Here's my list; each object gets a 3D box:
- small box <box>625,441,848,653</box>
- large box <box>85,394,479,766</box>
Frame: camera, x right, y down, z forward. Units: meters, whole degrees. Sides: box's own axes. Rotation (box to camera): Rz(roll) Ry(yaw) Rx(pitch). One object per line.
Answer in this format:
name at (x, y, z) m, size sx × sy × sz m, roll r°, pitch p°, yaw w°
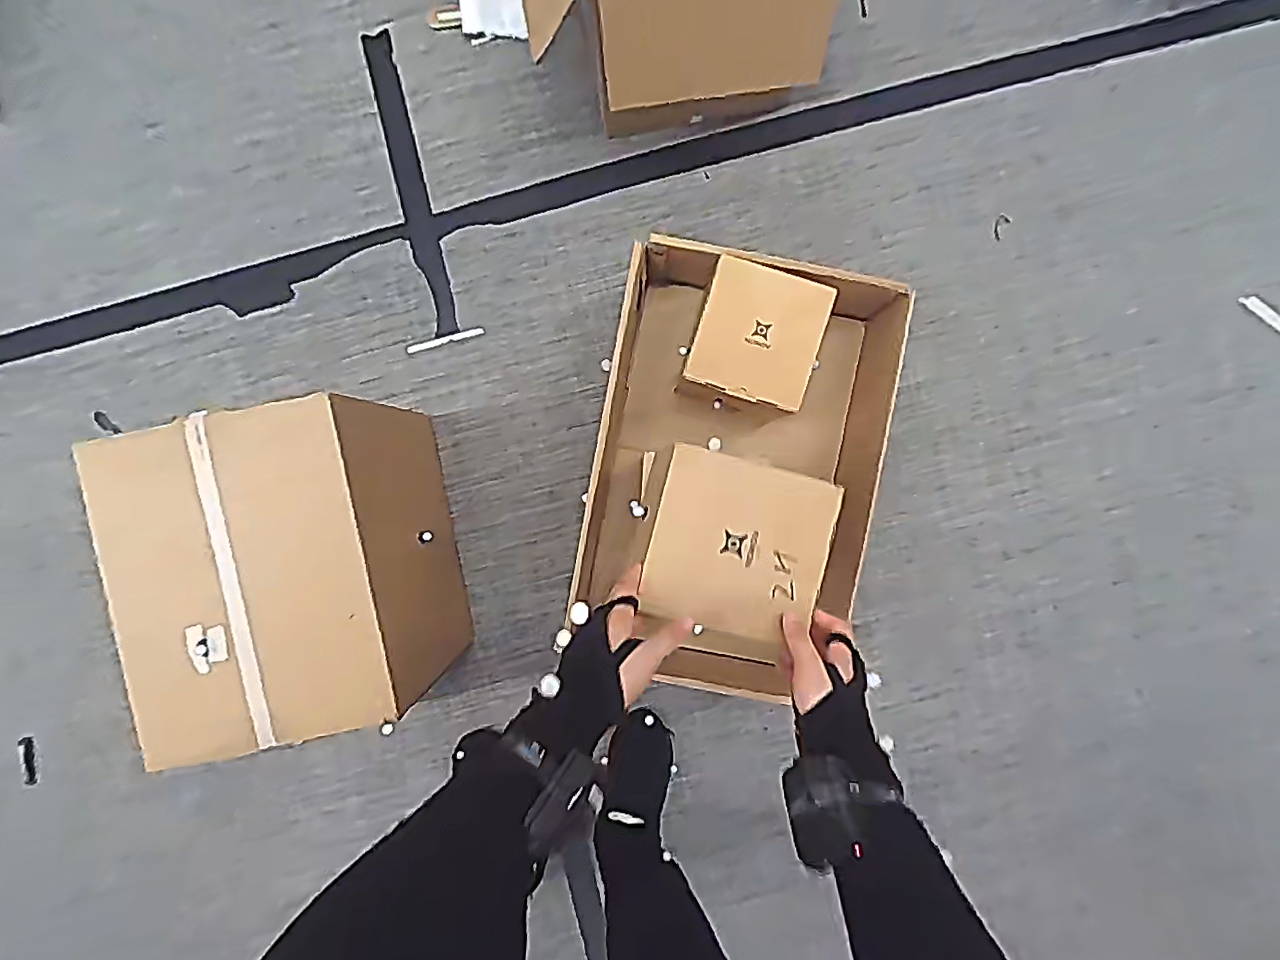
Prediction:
small box at (0.088, 0.064, 0.587) m, size 0.179 × 0.176 × 0.168 m, roll 16°, pitch 89°, yaw -6°
large box at (-0.466, 0.115, 0.793) m, size 0.320 × 0.320 × 0.408 m, roll -12°, pitch 92°, yaw 1°
